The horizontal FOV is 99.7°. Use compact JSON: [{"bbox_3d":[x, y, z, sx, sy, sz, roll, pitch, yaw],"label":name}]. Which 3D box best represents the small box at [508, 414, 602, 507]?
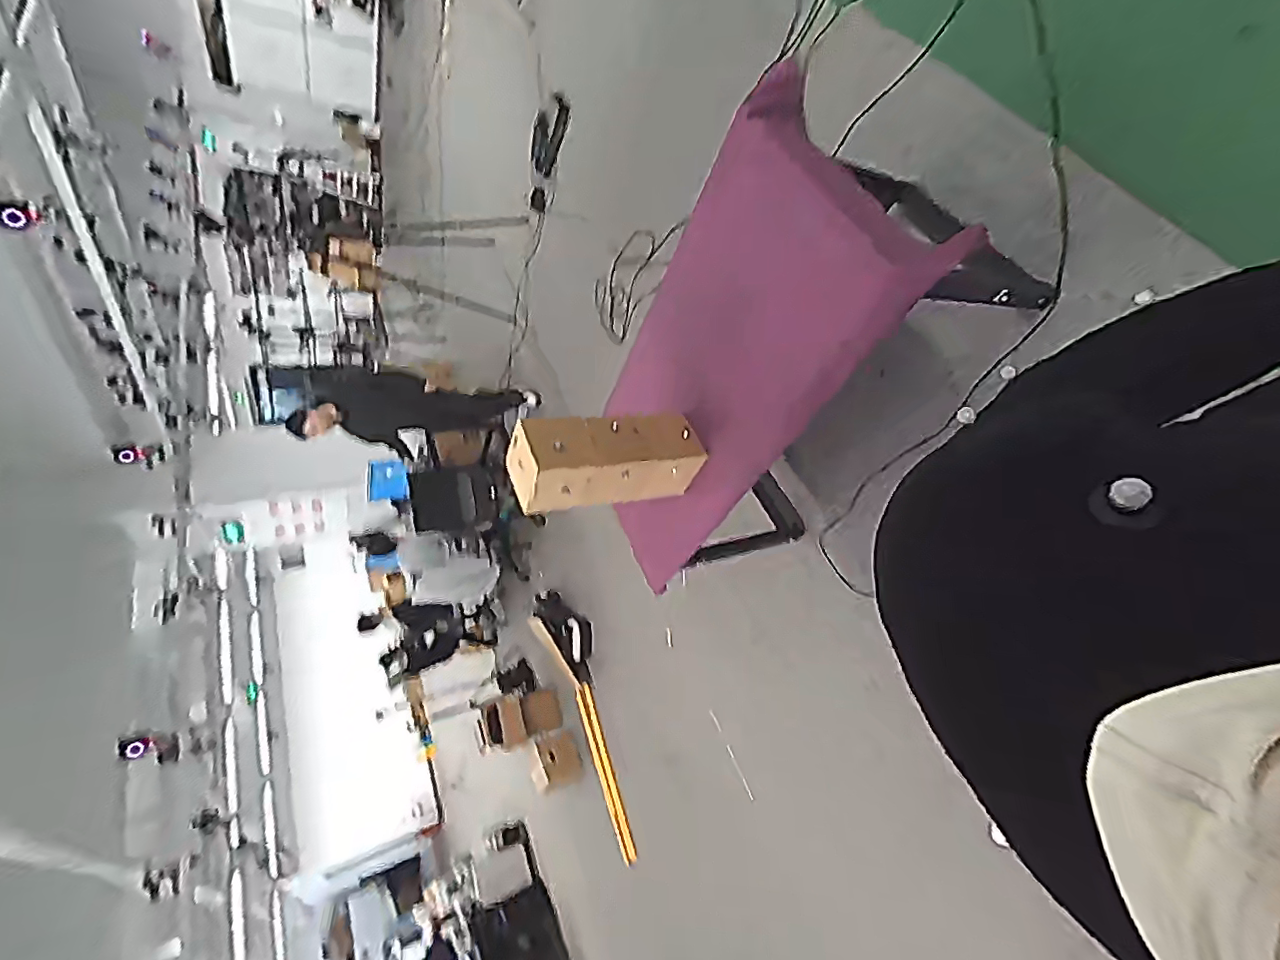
[{"bbox_3d":[-0.216,-0.056,1.365,0.179,0.176,0.168,63,142,29],"label":"small box"}]

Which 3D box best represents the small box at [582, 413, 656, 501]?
[{"bbox_3d":[-0.076,-0.067,1.448,0.168,0.176,0.179,64,143,28],"label":"small box"}]
